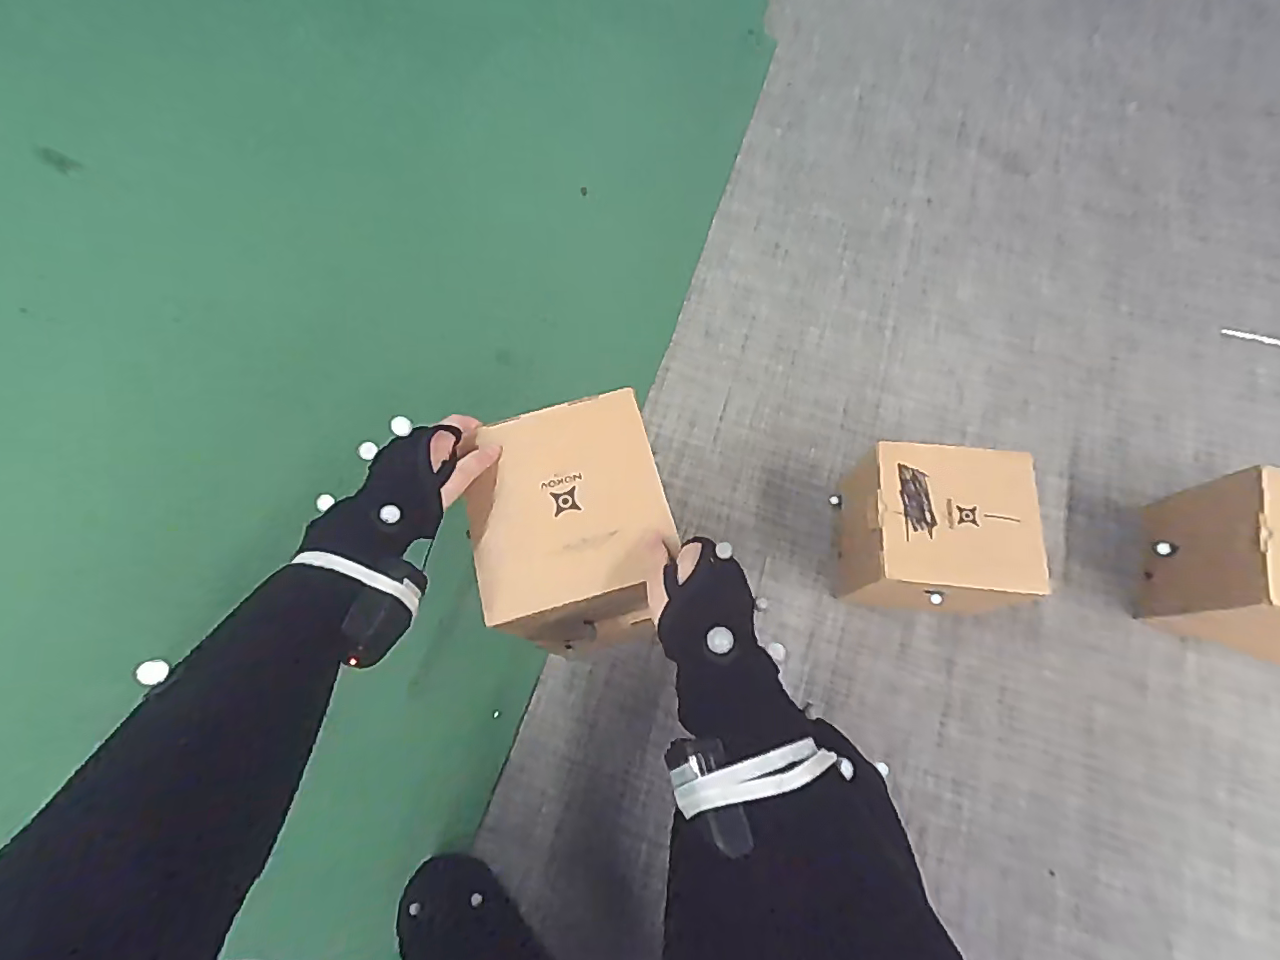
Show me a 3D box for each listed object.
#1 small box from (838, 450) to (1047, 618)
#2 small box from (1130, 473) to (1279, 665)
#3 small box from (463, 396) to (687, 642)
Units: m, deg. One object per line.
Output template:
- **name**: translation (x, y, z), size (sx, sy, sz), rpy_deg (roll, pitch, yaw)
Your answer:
- **small box**: translation (0.357, 0.075, 0.680), size (0.179, 0.176, 0.168), rpy_deg (5, 69, 3)
- **small box**: translation (0.751, 0.116, 0.648), size (0.179, 0.176, 0.168), rpy_deg (17, 70, 9)
- **small box**: translation (-0.056, 0.048, 0.532), size (0.168, 0.176, 0.179), rpy_deg (-15, 69, -1)
